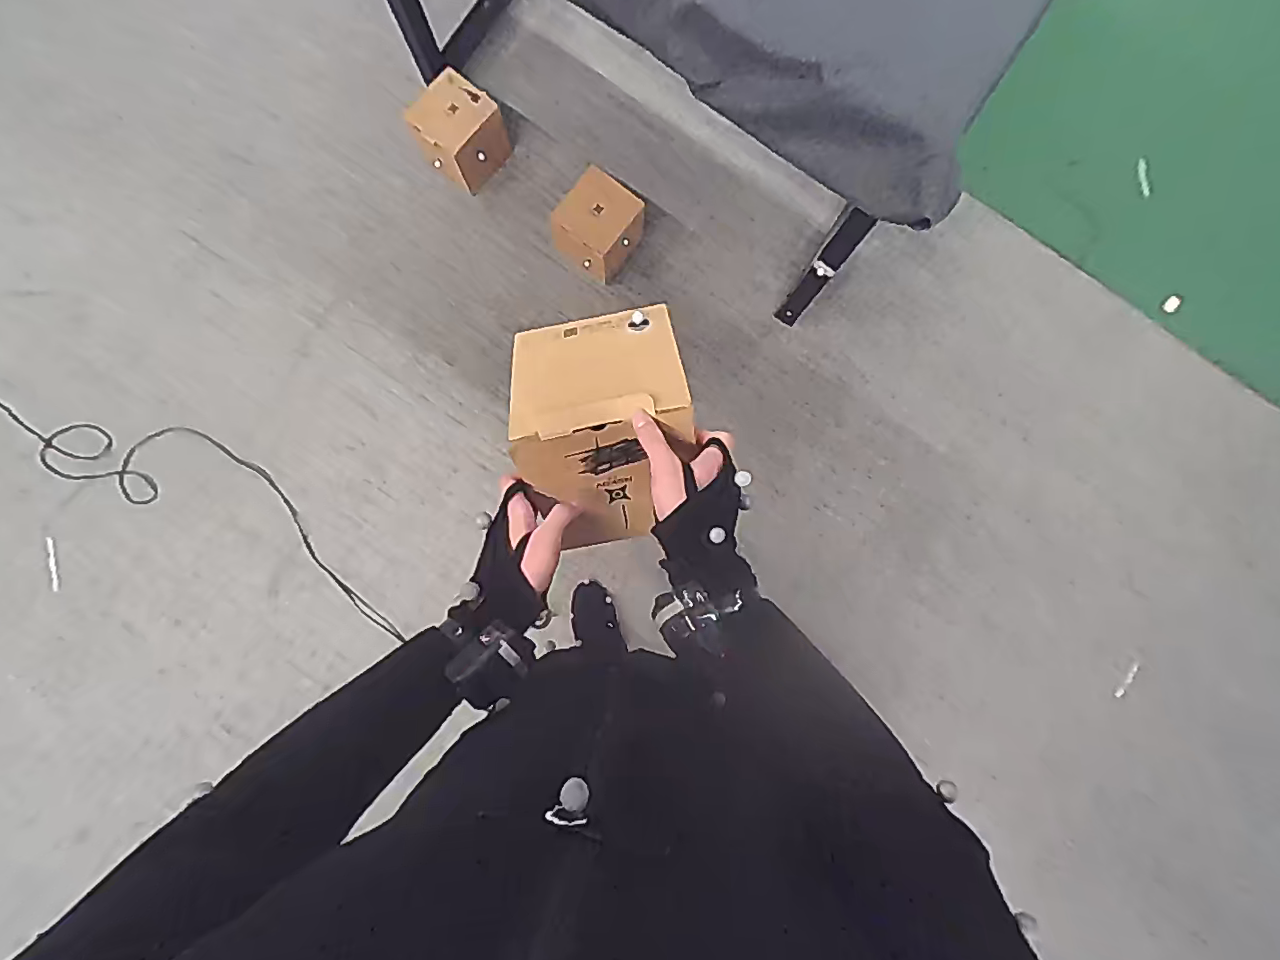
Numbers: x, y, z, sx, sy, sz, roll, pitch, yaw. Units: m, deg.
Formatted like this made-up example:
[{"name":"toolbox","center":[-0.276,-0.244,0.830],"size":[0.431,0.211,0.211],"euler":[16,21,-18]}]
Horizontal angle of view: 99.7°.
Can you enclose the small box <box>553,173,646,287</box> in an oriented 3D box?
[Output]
[{"name":"small box","center":[-0.100,-0.640,1.410],"size":[0.168,0.176,0.179],"euler":[36,84,1]}]

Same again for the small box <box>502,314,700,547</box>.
[{"name":"small box","center":[-0.037,-0.057,0.576],"size":[0.168,0.179,0.176],"euler":[-11,48,4]}]
